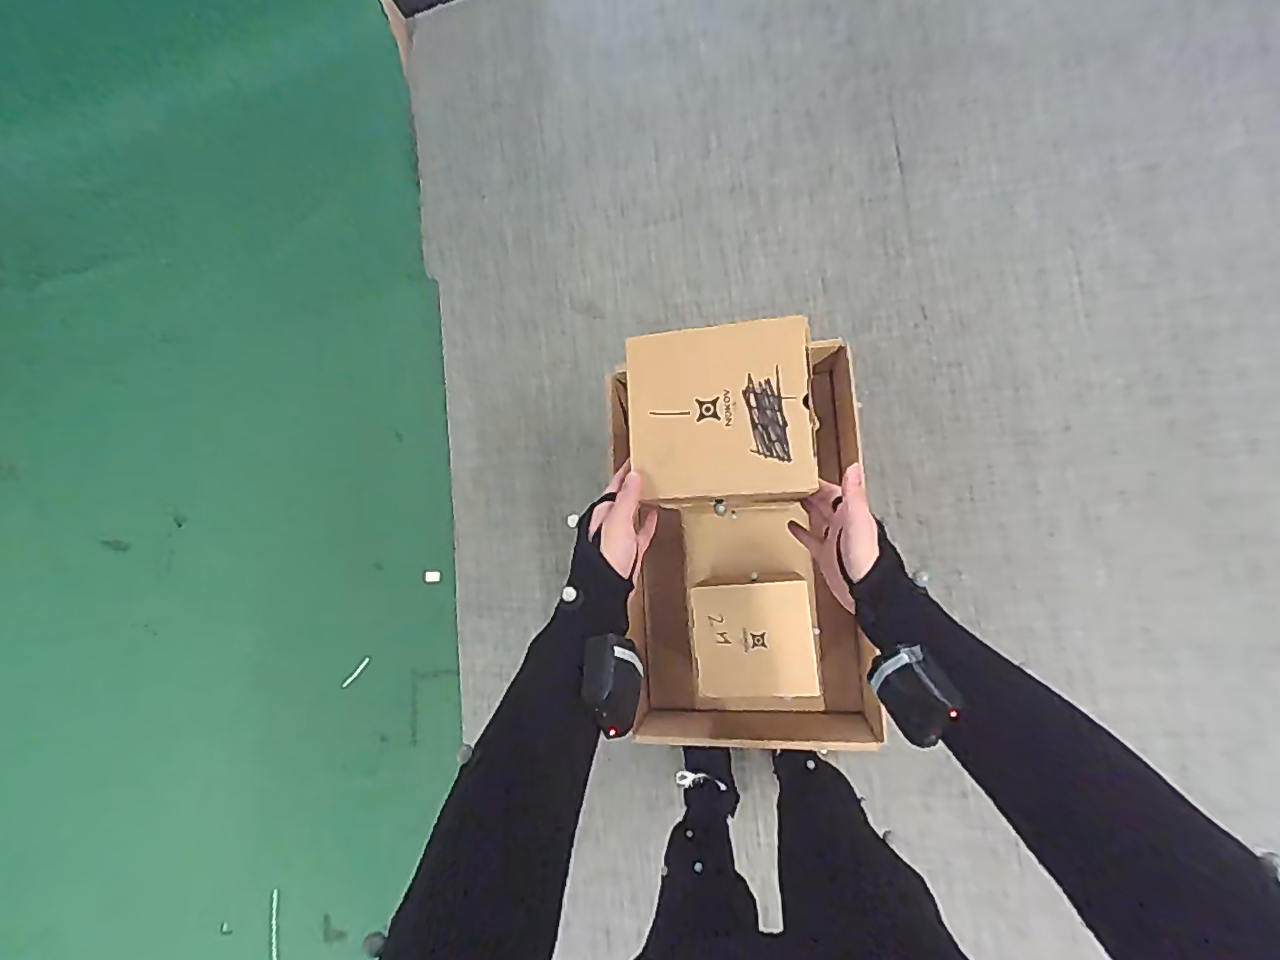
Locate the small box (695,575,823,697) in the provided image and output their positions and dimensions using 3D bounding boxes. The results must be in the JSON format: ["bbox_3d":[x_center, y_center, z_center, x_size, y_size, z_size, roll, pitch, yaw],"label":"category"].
[{"bbox_3d":[0.188,0.244,0.874,0.179,0.176,0.168,-5,82,12],"label":"small box"}]

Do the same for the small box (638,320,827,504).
[{"bbox_3d":[0.100,-0.060,0.591,0.179,0.176,0.168,-3,85,13],"label":"small box"}]
